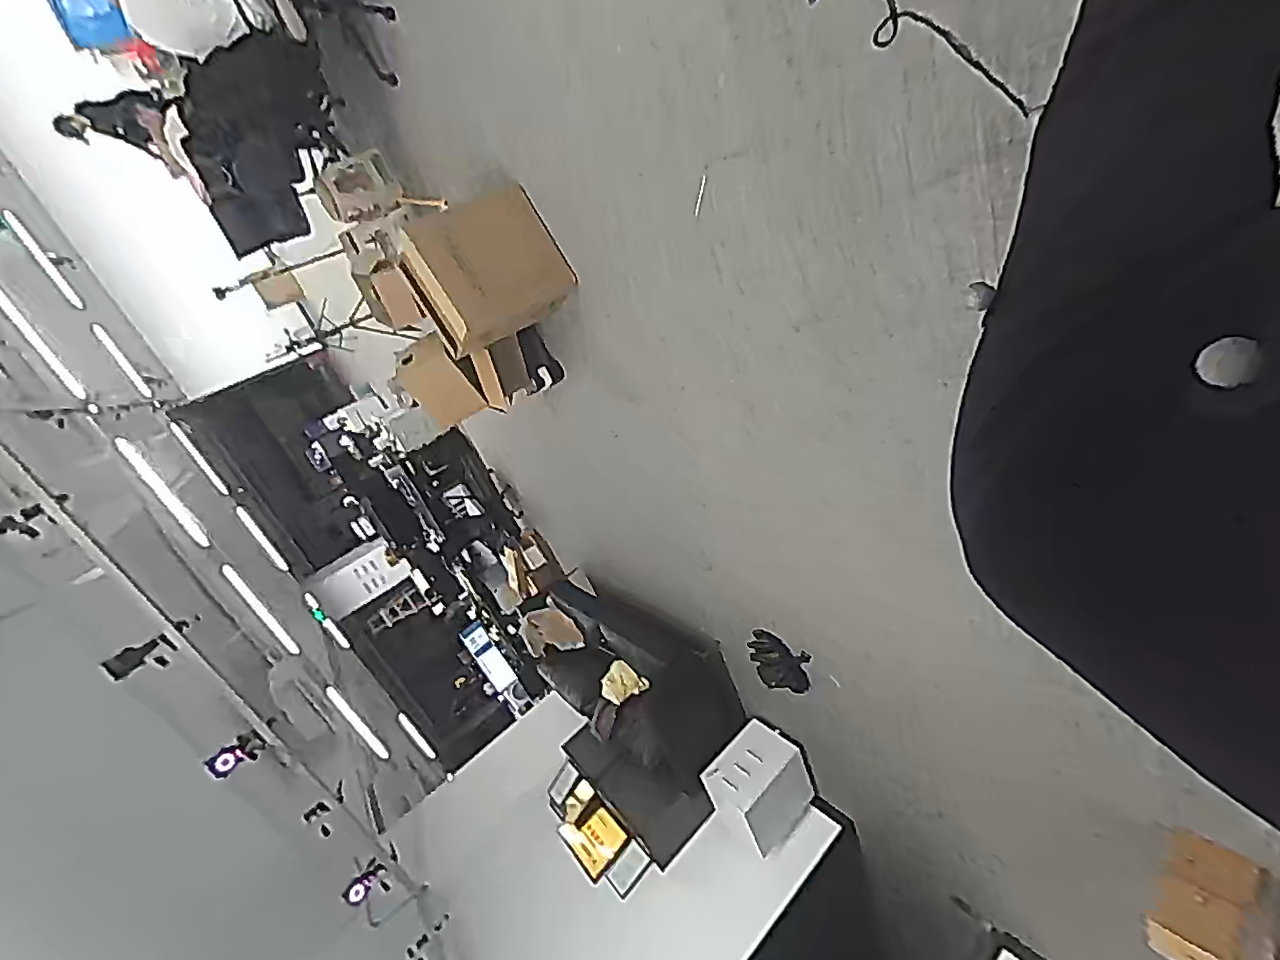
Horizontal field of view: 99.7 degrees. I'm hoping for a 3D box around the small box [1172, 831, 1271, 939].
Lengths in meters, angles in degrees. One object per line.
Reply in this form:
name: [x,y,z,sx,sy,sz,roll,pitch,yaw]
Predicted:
small box: [1.758,1.212,1.637,0.179,0.176,0.168,10,131,54]
